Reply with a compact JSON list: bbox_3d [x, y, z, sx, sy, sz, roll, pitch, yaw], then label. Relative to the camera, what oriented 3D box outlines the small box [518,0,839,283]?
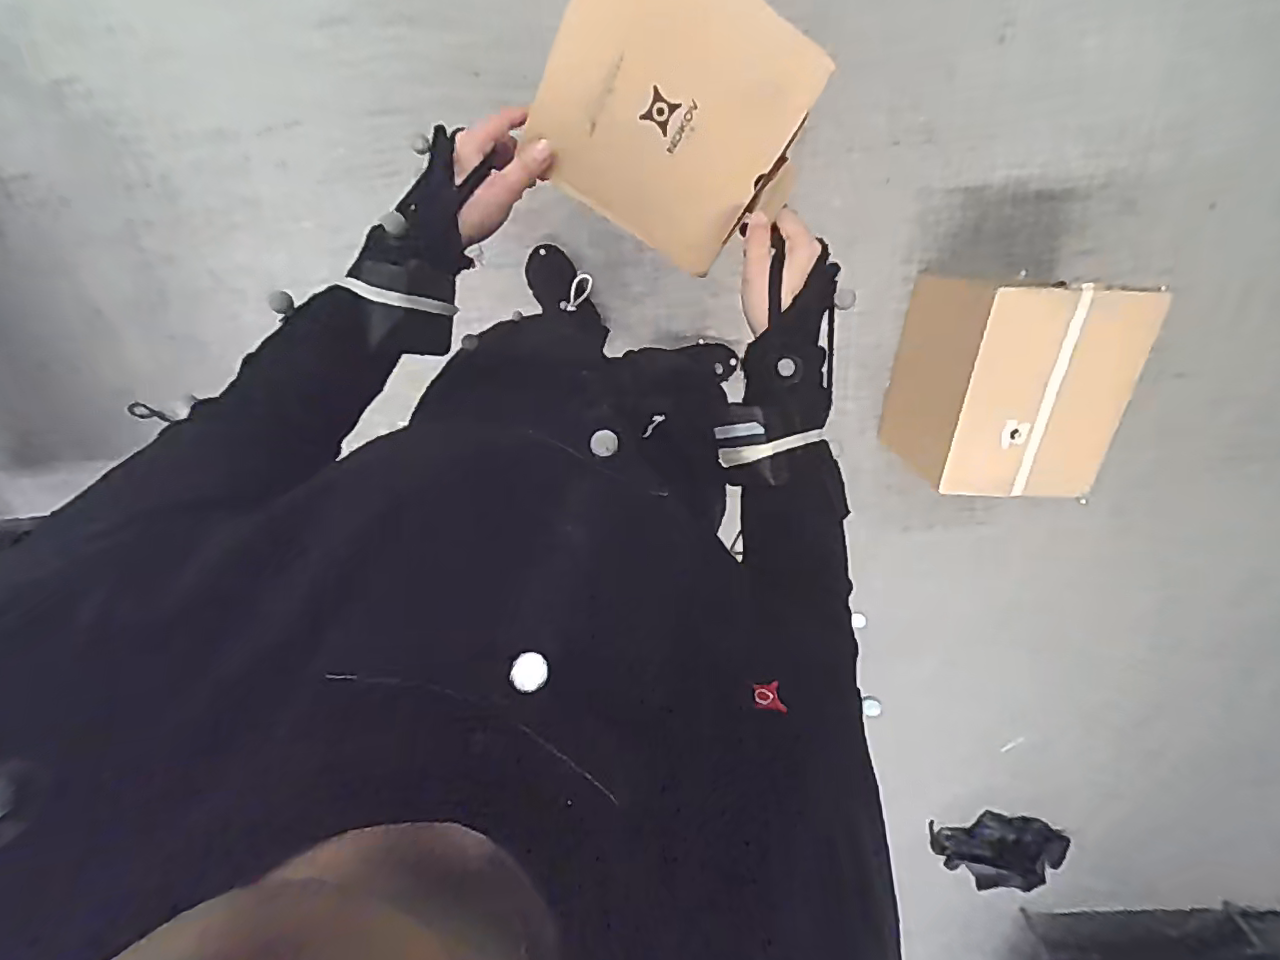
[{"bbox_3d":[0.030,-0.300,0.444,0.179,0.176,0.168,27,125,-11],"label":"small box"}]

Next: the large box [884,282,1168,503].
[{"bbox_3d":[0.769,-0.200,1.155,0.320,0.320,0.408,2,115,0],"label":"large box"}]
